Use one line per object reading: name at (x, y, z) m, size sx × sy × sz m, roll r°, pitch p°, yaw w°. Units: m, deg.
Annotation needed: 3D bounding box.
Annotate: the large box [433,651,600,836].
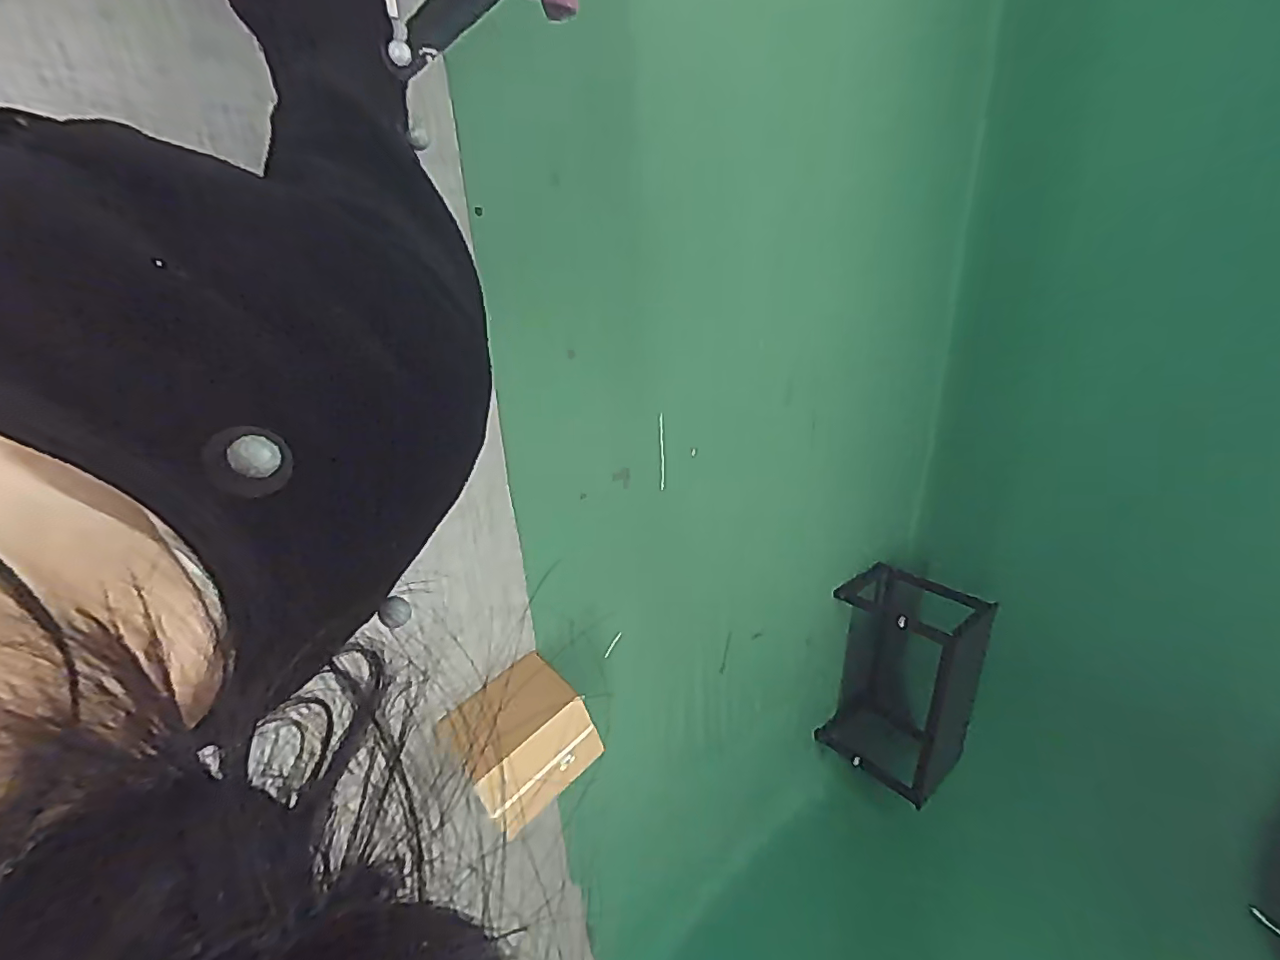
large box at (-0.413, 0.874, 1.839) m, size 0.408 × 0.320 × 0.320 m, roll -34°, pitch 125°, yaw -29°
